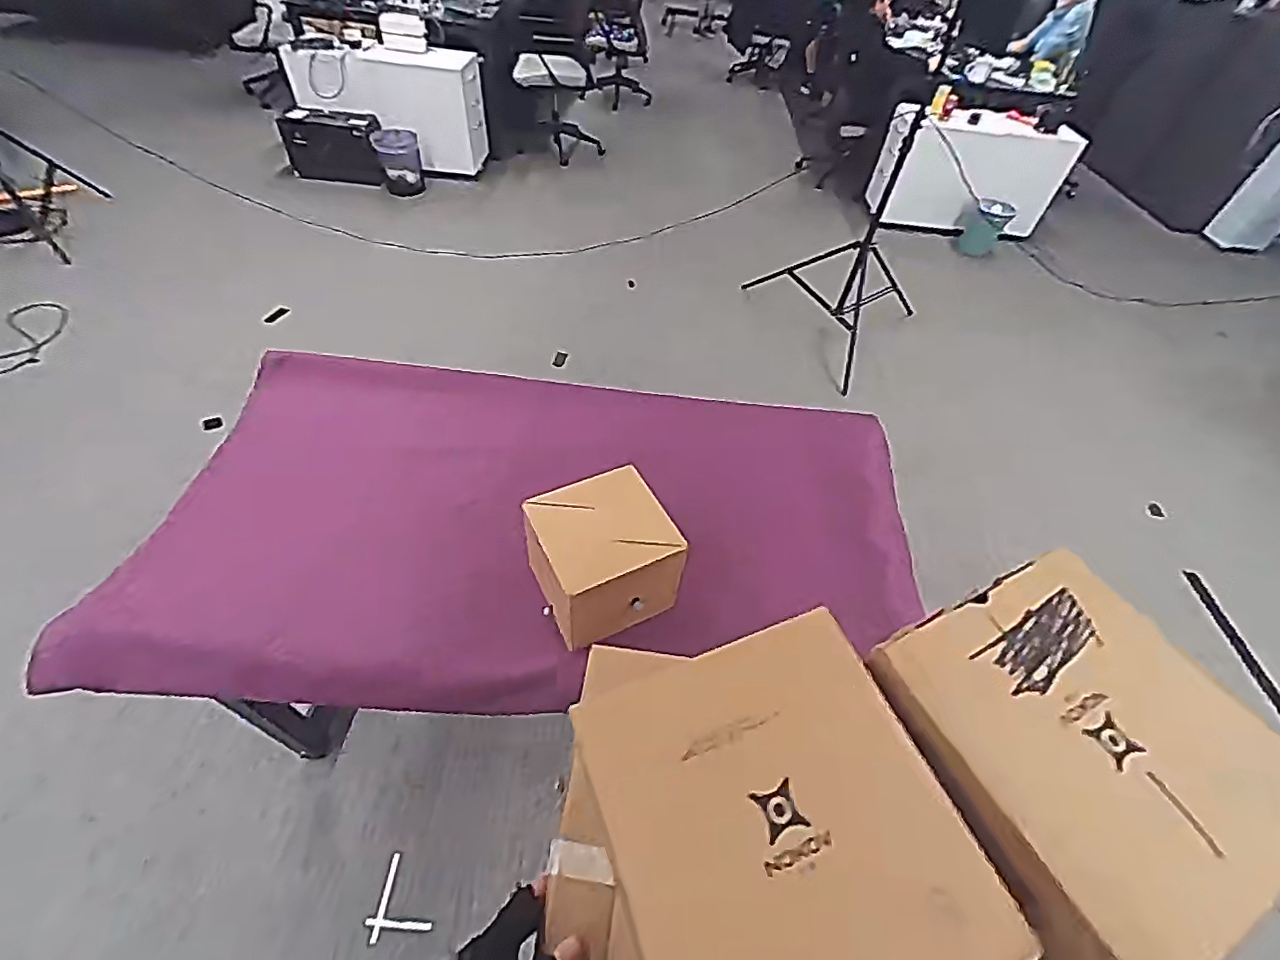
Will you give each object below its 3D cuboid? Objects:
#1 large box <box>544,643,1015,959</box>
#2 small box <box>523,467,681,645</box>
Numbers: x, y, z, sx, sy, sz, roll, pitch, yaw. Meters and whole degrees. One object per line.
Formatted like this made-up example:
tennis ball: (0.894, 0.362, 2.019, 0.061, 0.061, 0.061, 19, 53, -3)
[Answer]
large box: (0.134, 0.375, 0.497, 0.408, 0.320, 0.320, 7, 54, 2)
small box: (-0.056, 0.104, 0.788, 0.179, 0.176, 0.168, -20, 53, -21)
